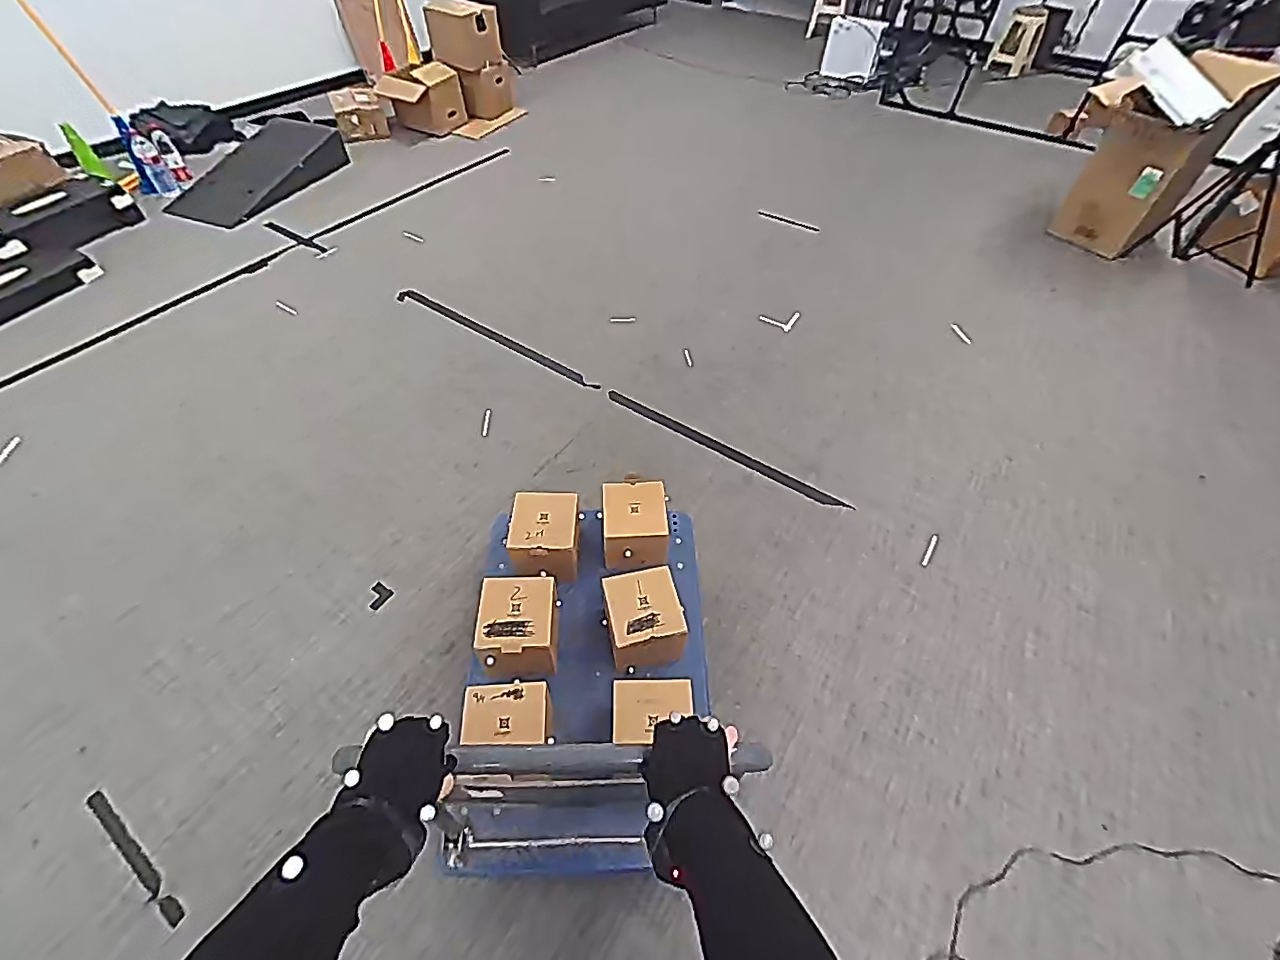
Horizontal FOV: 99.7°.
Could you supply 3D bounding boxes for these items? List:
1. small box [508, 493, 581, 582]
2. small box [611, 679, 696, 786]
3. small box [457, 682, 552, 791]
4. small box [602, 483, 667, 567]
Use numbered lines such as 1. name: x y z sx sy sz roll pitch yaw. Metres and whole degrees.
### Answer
1. small box: -0.249 0.155 1.447 0.168 0.176 0.179 1 52 -1
2. small box: 0.025 0.540 1.150 0.168 0.176 0.179 1 50 -2
3. small box: -0.273 0.542 1.133 0.168 0.176 0.179 -2 51 -5
4. small box: -0.017 0.128 1.481 0.168 0.176 0.179 -2 51 -4
